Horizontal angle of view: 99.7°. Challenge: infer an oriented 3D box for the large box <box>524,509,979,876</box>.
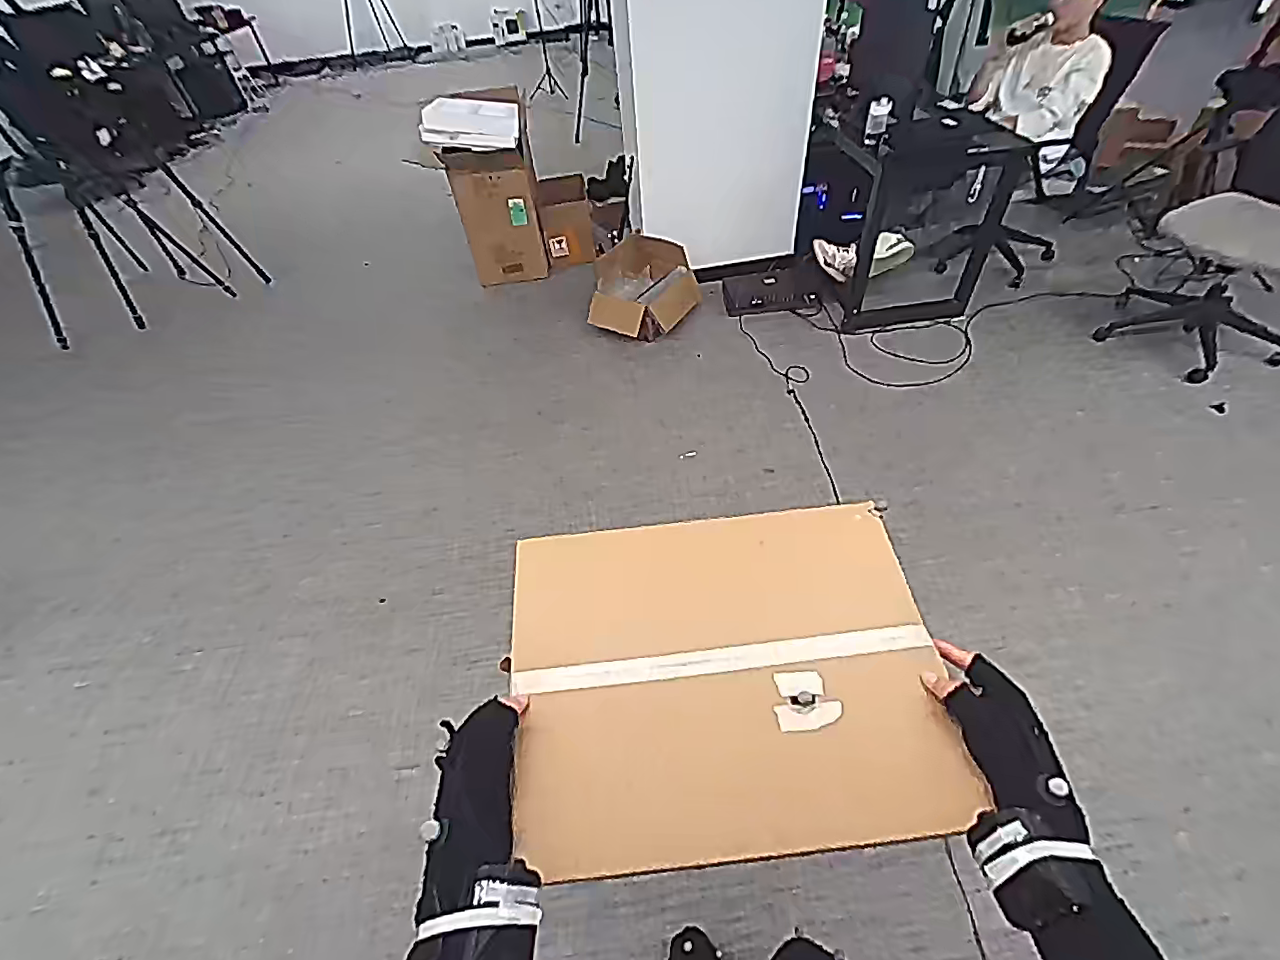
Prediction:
[{"bbox_3d":[0.086,0.267,0.664,0.408,0.320,0.320,-6,56,-2],"label":"large box"}]
